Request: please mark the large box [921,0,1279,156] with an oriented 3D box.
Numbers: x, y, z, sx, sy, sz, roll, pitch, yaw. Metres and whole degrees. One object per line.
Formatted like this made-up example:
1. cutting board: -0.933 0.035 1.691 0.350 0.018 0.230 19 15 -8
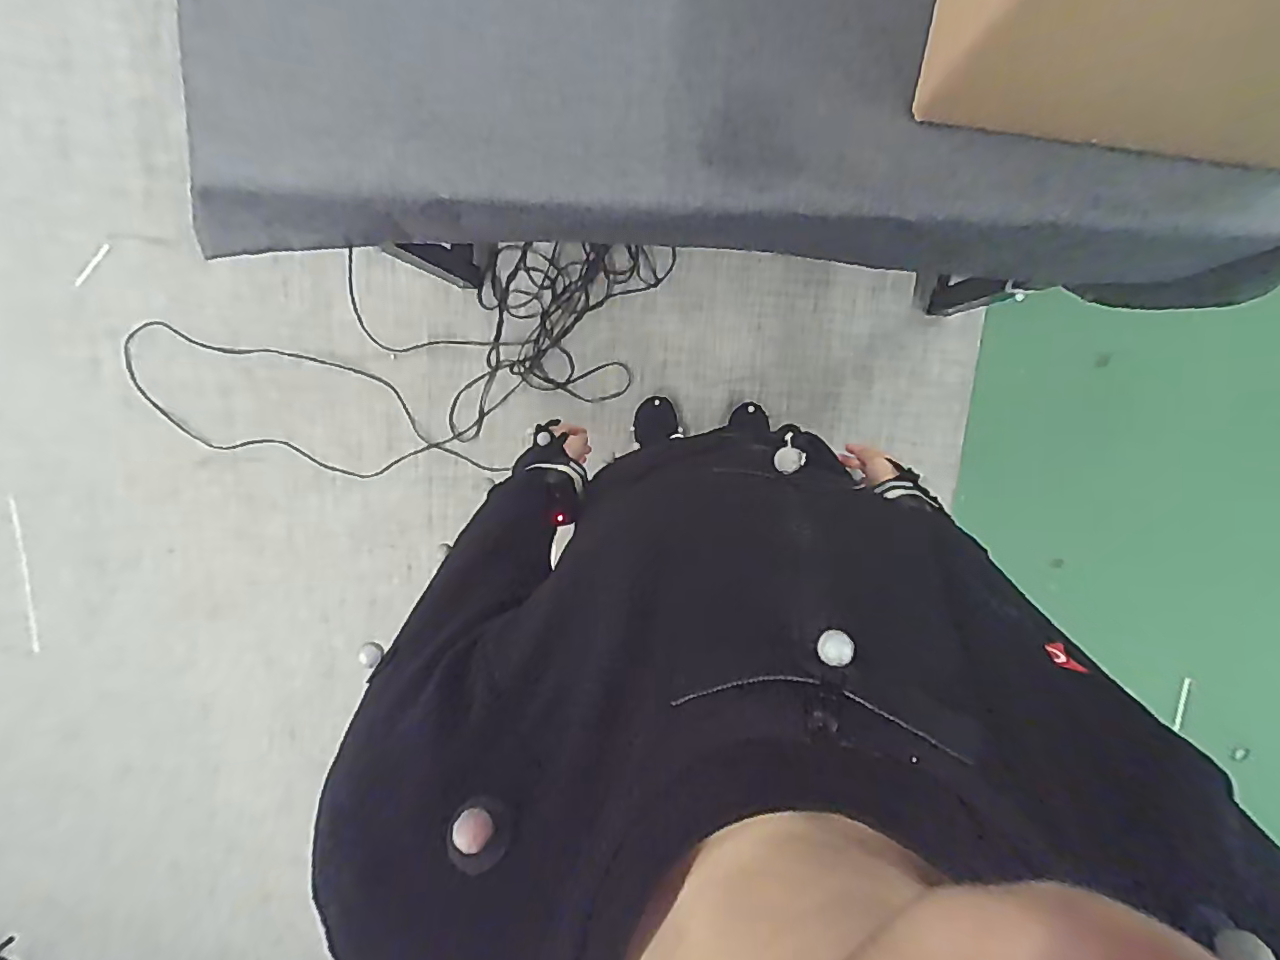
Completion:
1. large box: 0.489 -0.472 0.379 0.408 0.320 0.320 9 100 1
